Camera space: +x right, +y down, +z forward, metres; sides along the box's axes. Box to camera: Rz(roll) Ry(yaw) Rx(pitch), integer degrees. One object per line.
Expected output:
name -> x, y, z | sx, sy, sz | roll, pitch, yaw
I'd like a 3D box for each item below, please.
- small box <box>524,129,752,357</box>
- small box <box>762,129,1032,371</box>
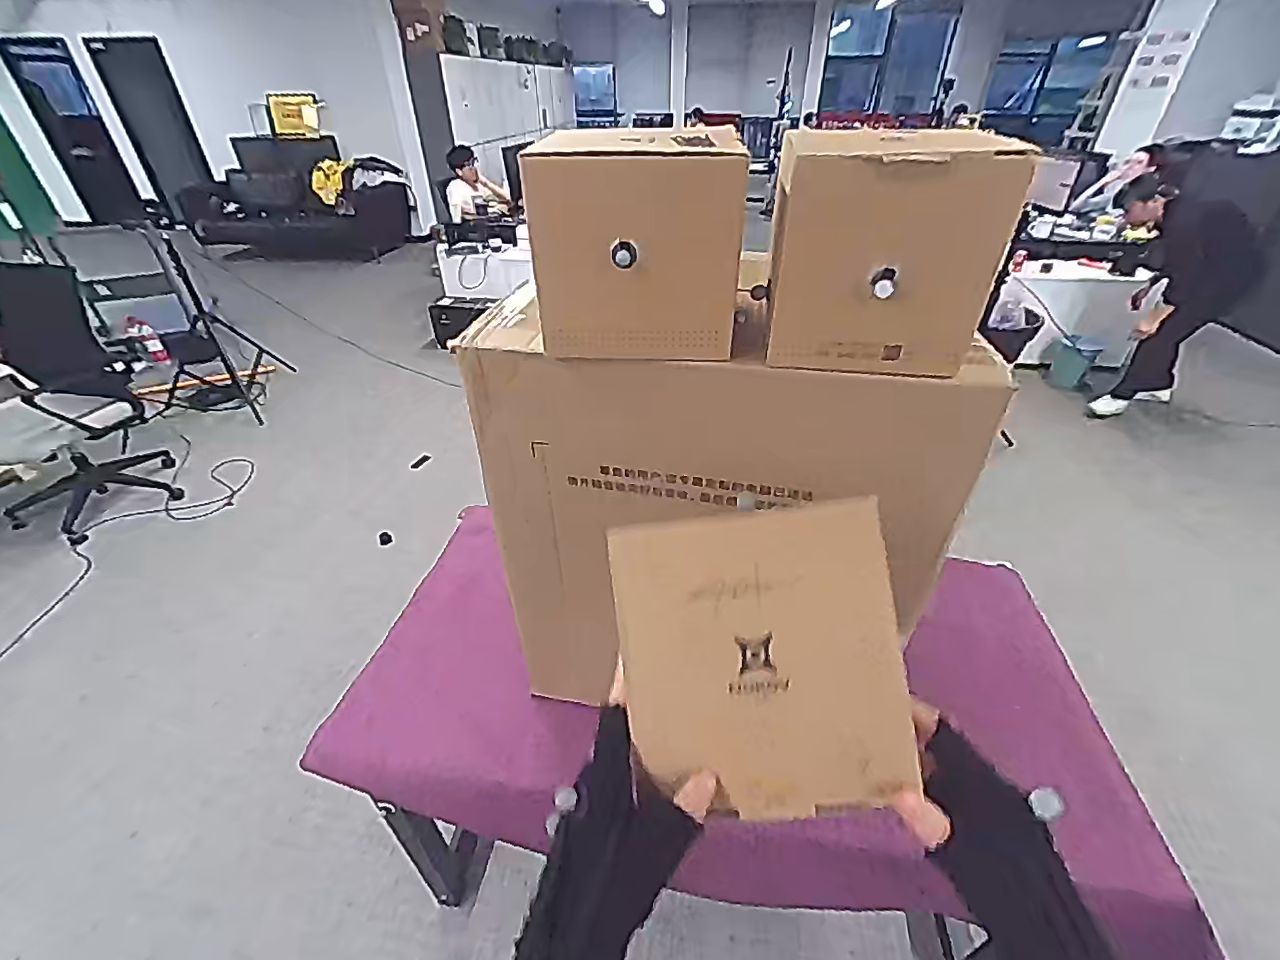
small box -> 0.004, -0.226, 0.518 | 0.179, 0.176, 0.168 | 2, 37, 4
small box -> 0.207, -0.212, 0.496 | 0.168, 0.176, 0.179 | 6, 38, 8
